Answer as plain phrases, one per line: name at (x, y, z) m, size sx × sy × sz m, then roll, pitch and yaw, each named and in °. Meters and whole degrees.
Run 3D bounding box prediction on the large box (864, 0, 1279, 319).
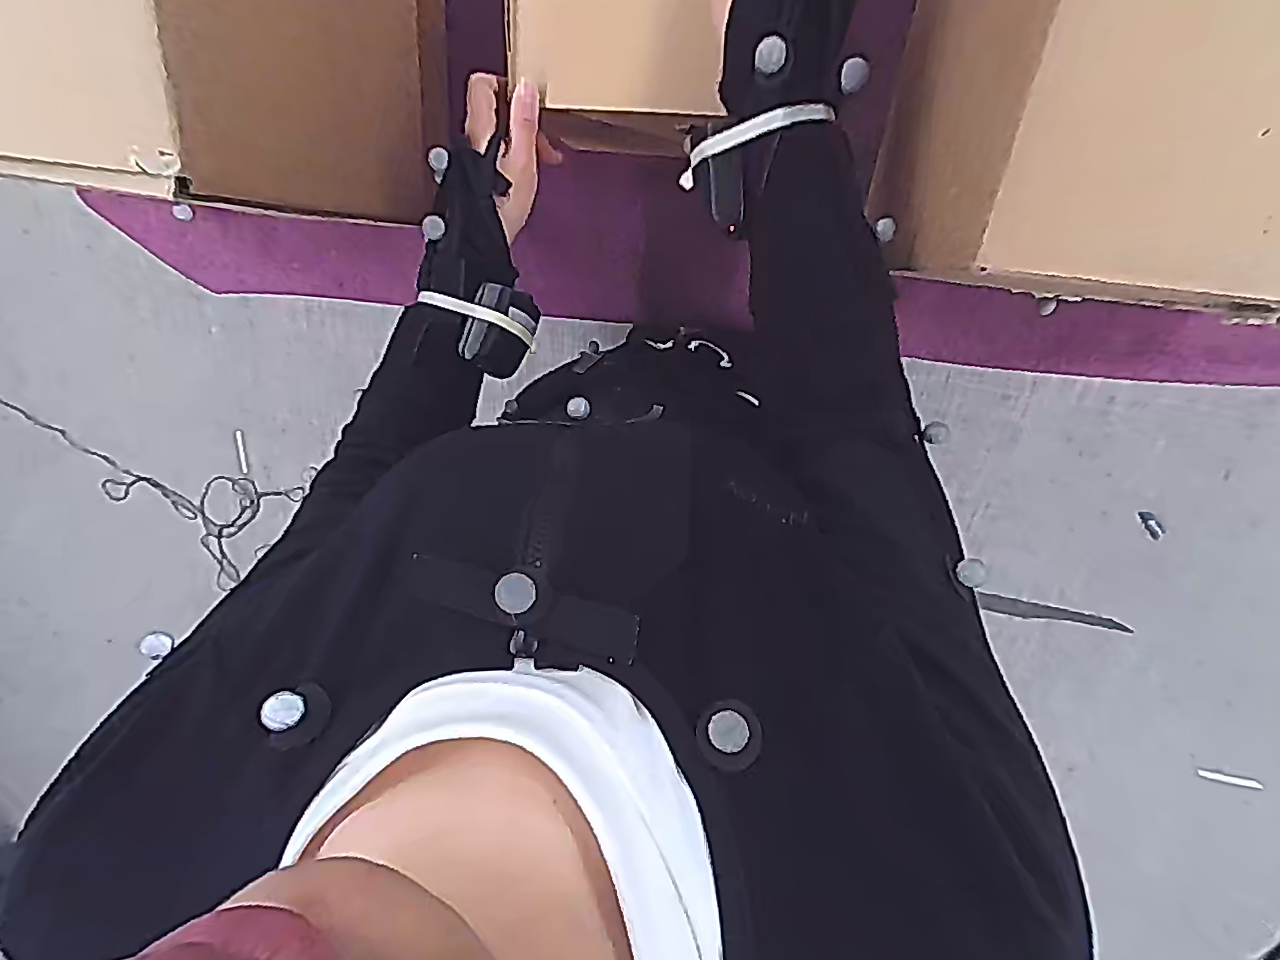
large box at (0.343, -0.298, 0.278) m, size 0.320 × 0.320 × 0.408 m, roll 9°, pitch 111°, yaw 7°
